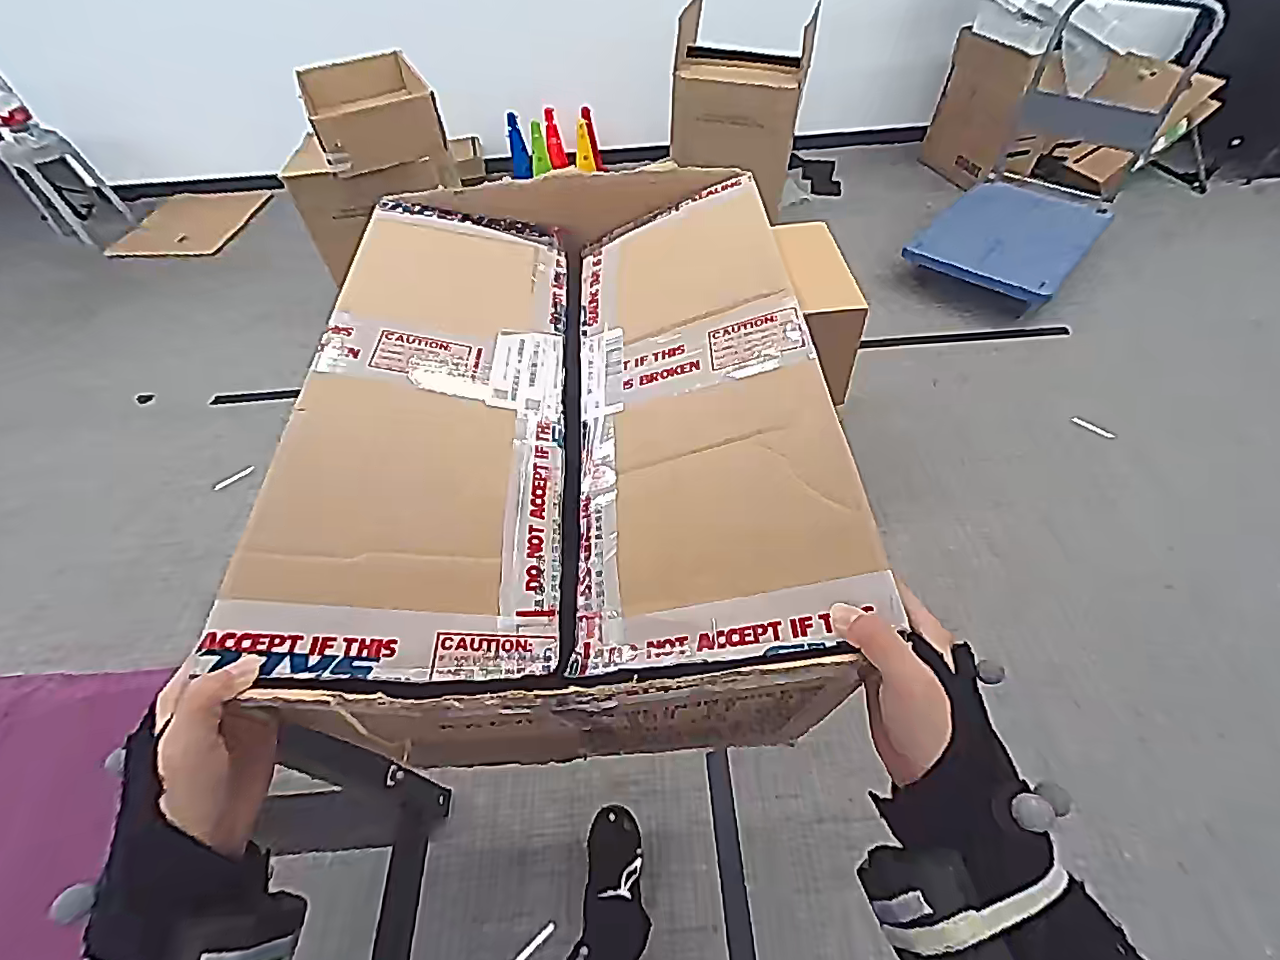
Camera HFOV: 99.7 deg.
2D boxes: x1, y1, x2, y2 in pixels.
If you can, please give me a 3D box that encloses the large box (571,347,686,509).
[{"bbox_3d":[-0.040,-0.165,1.698,0.320,0.320,0.408,-6,52,-1],"label":"large box"}]
